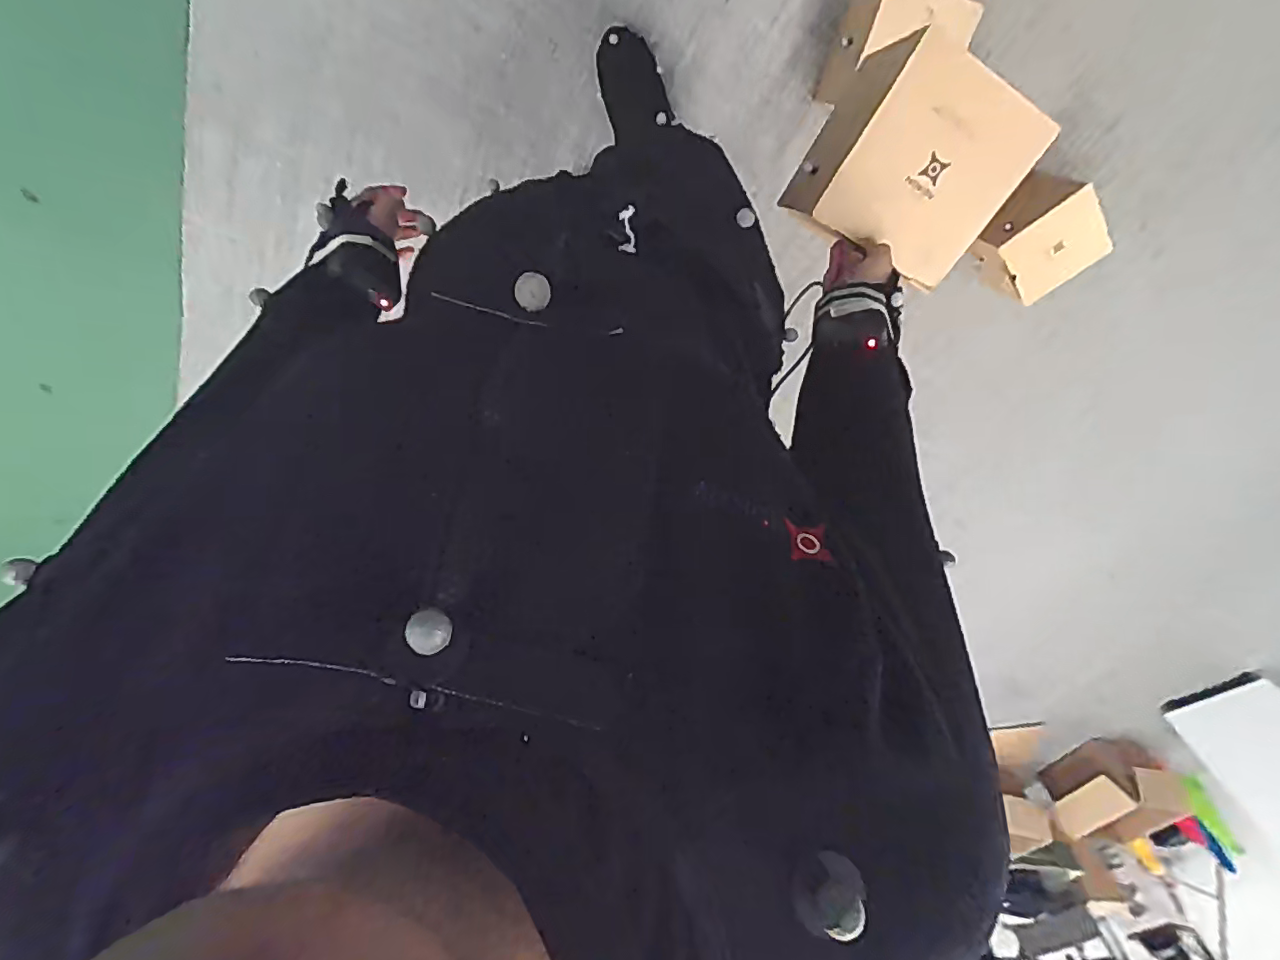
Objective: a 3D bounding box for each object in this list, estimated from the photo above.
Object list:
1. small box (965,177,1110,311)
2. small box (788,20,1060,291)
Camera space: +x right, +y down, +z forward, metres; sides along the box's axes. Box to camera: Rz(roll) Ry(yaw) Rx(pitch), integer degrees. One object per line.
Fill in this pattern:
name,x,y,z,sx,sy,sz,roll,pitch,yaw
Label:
small box,0.814,-0.496,1.129,0.179,0.176,0.168,-36,121,23
small box,0.281,-0.337,0.589,0.168,0.176,0.179,24,117,-13
